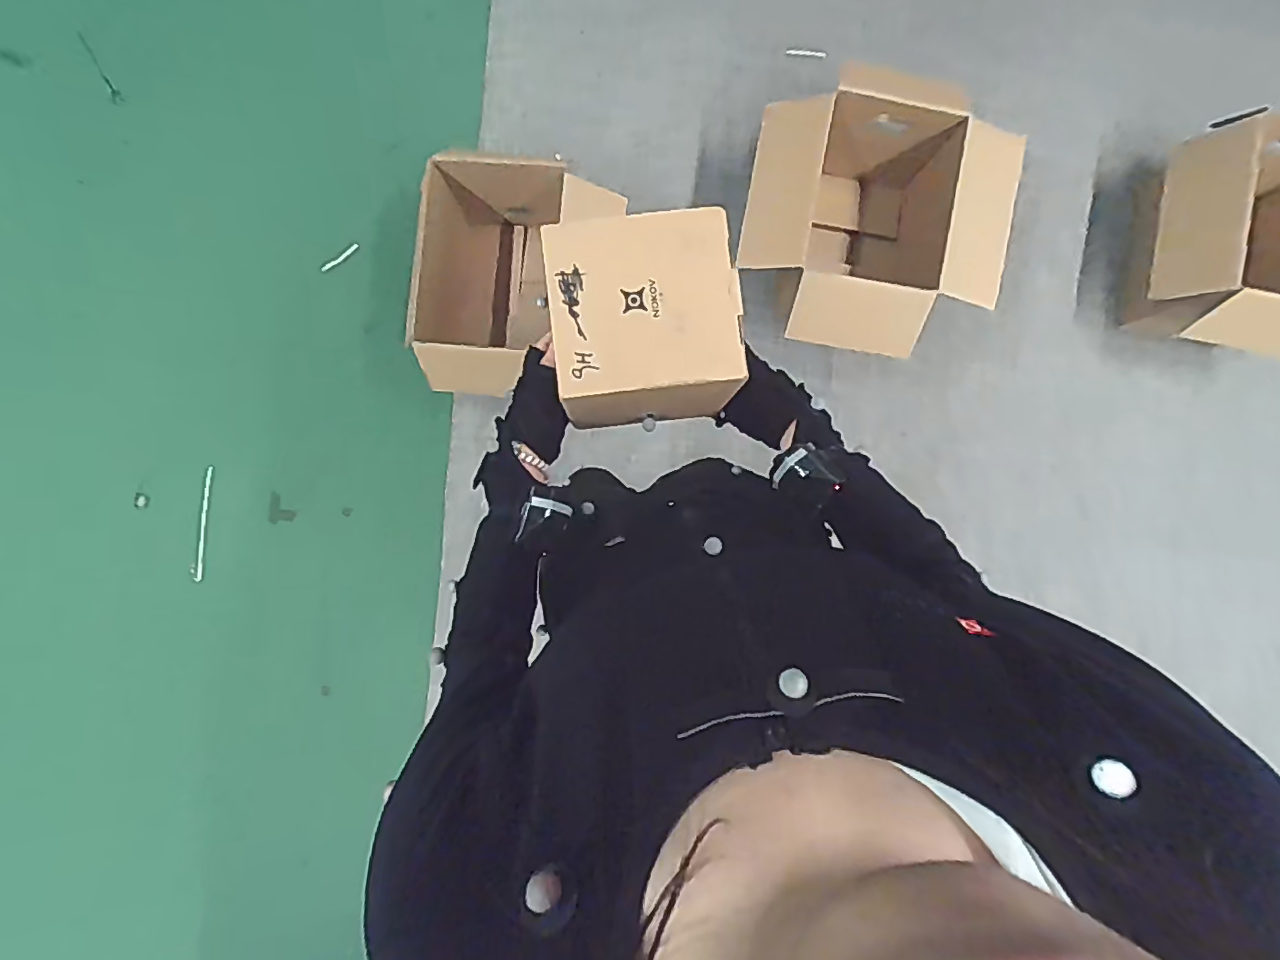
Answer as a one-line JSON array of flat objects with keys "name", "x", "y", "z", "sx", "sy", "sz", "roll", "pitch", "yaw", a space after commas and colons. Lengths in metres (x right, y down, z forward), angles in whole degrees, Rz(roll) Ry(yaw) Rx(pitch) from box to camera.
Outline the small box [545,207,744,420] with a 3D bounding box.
[{"name": "small box", "x": -0.001, "y": -0.164, "z": 0.579, "sx": 0.179, "sy": 0.176, "sz": 0.168, "roll": -5, "pitch": 85, "yaw": -3}]
